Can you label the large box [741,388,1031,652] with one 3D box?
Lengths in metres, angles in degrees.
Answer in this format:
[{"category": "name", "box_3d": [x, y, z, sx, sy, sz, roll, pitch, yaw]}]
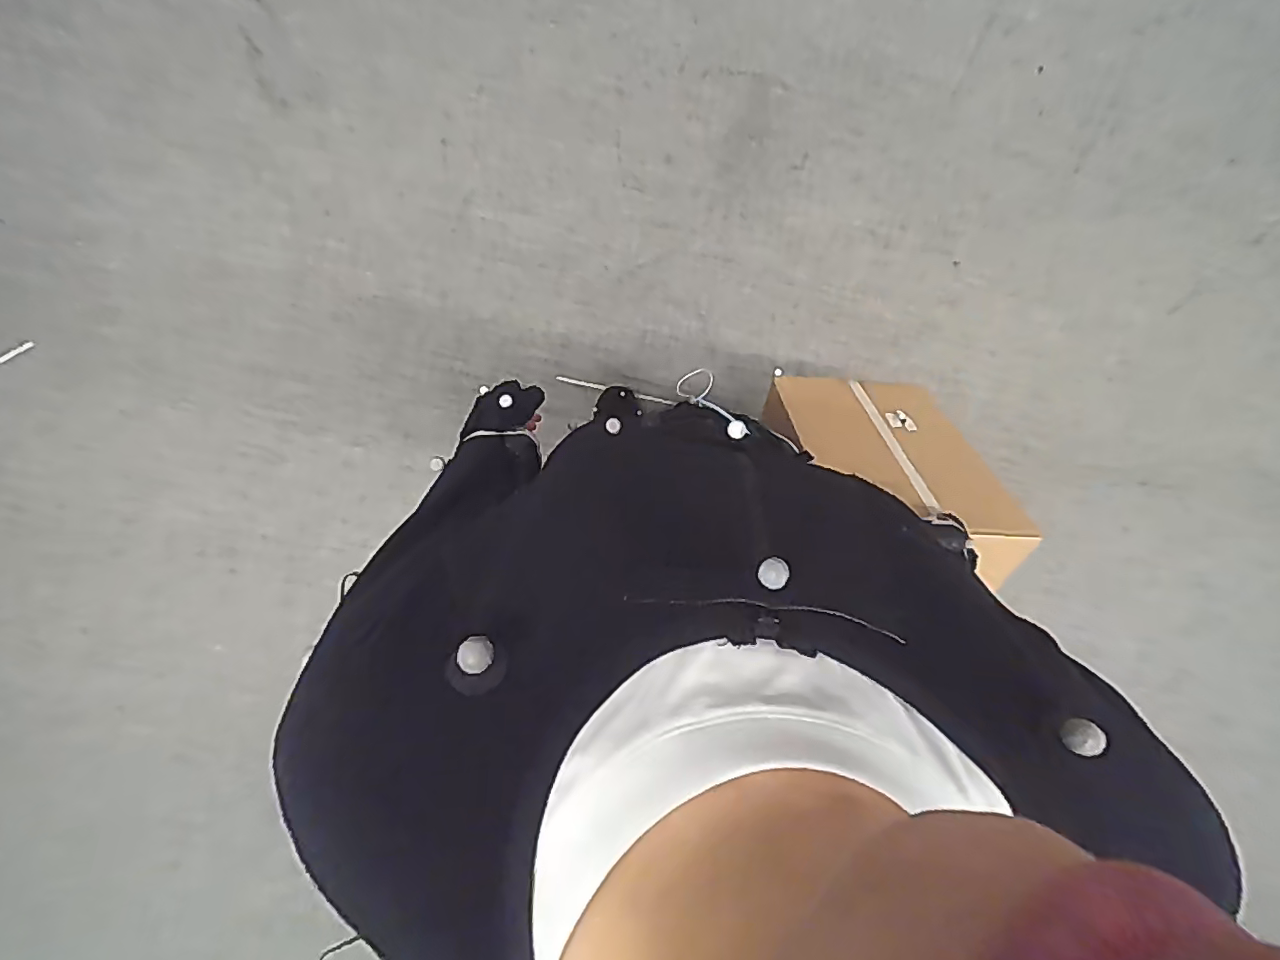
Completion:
[{"category": "large box", "box_3d": [0.402, 0.069, 1.021, 0.320, 0.408, 0.320, 3, 130, -6]}]
